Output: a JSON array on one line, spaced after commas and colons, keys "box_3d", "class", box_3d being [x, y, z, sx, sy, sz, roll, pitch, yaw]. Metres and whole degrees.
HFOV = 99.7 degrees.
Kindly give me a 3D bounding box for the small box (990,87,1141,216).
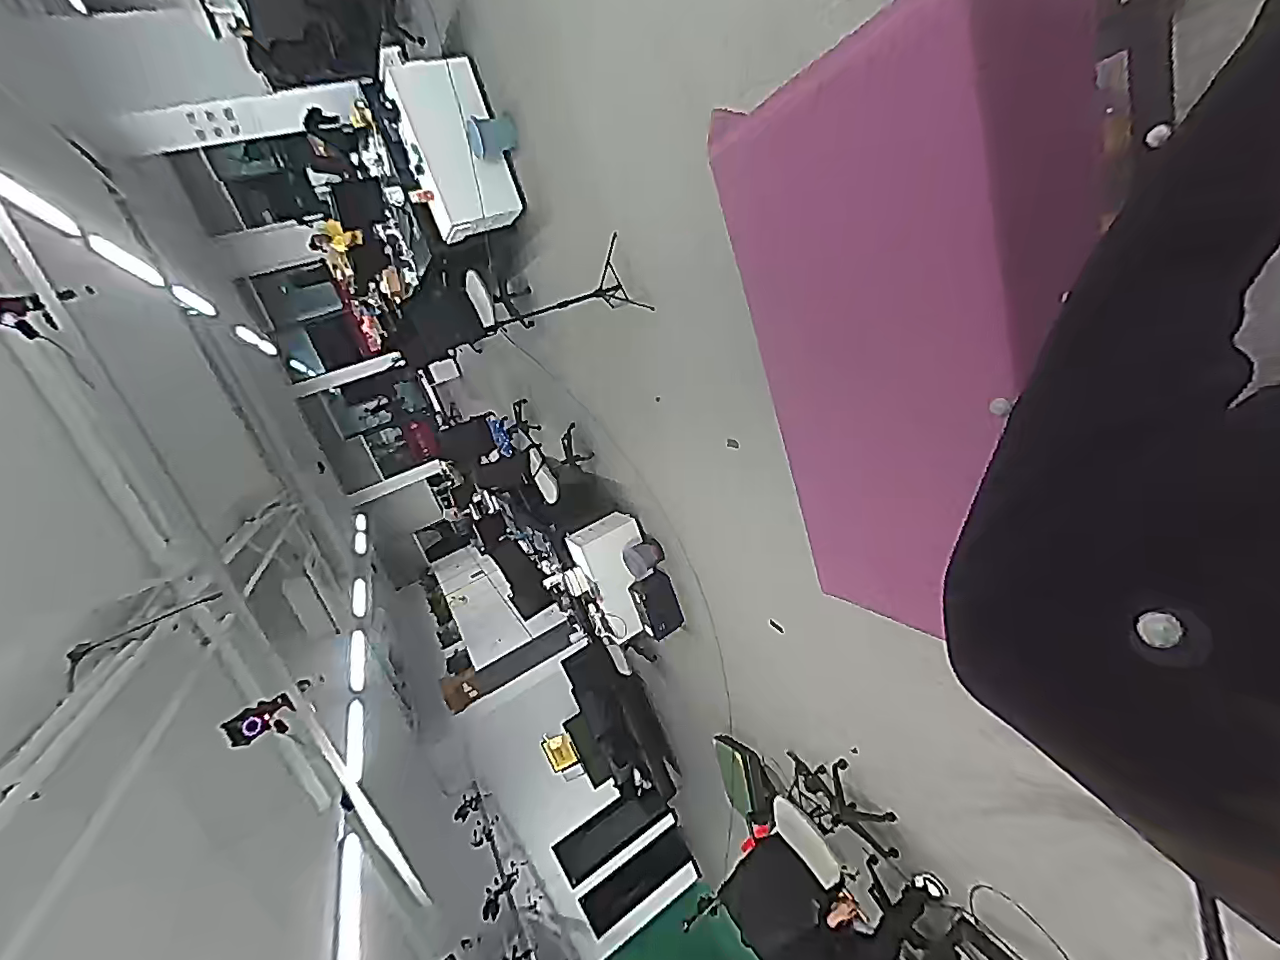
[{"box_3d": [0.959, -0.741, 1.224, 0.168, 0.176, 0.179, 60, 159, 10], "class": "small box"}]
